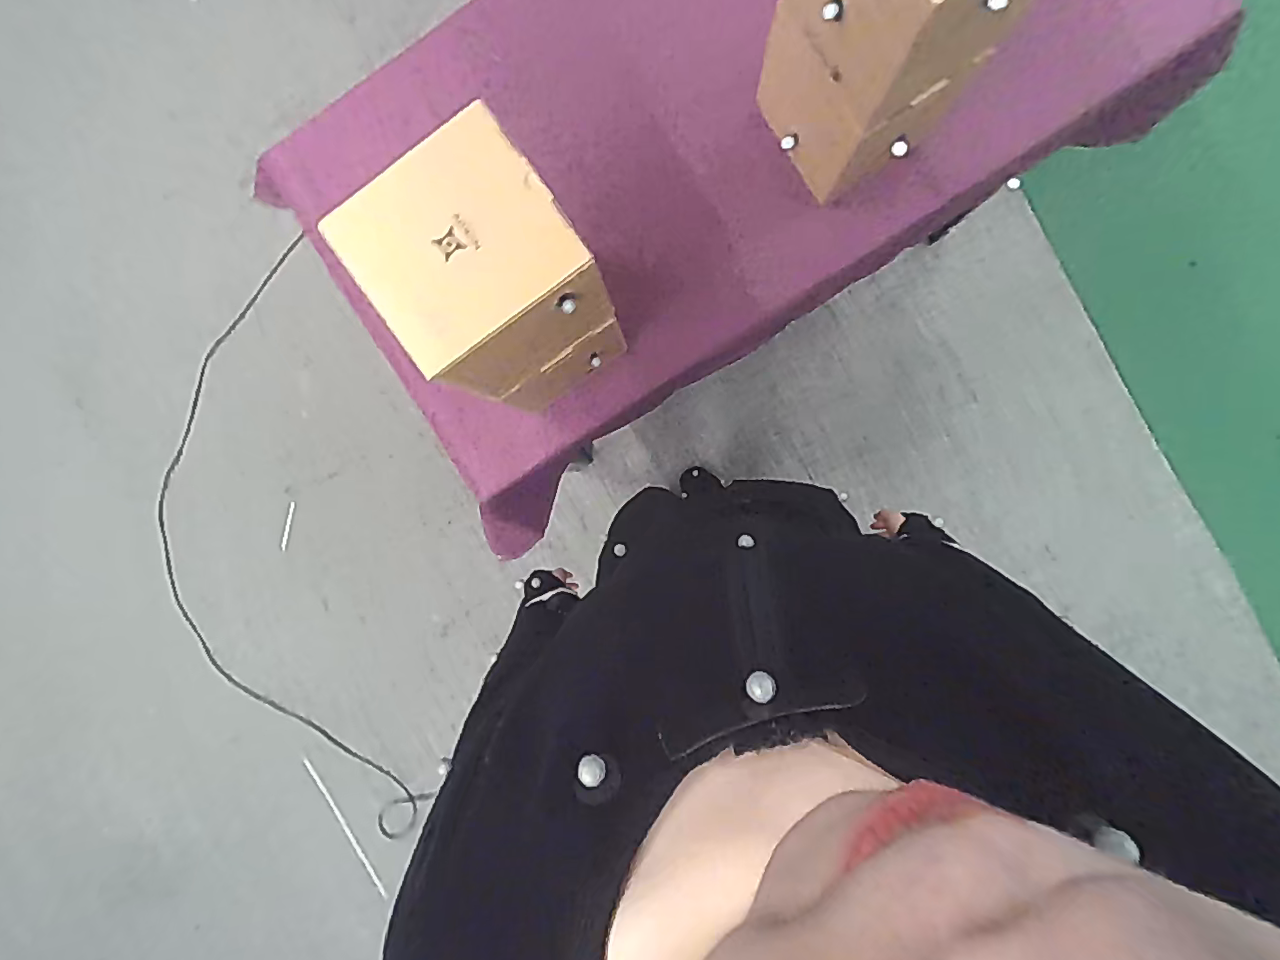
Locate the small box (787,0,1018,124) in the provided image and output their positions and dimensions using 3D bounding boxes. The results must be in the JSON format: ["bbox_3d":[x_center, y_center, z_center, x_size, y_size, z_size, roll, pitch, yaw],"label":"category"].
[{"bbox_3d":[0.253,-0.481,0.494,0.179,0.176,0.168,-33,90,4],"label":"small box"}]

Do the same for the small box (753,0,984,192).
[{"bbox_3d":[0.260,-0.489,0.660,0.168,0.176,0.179,-32,91,4],"label":"small box"}]

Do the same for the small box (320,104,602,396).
[{"bbox_3d":[-0.155,-0.202,0.534,0.179,0.176,0.168,-36,90,2],"label":"small box"}]

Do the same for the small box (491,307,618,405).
[{"bbox_3d":[-0.142,-0.210,0.696,0.168,0.176,0.179,-34,90,3],"label":"small box"}]
